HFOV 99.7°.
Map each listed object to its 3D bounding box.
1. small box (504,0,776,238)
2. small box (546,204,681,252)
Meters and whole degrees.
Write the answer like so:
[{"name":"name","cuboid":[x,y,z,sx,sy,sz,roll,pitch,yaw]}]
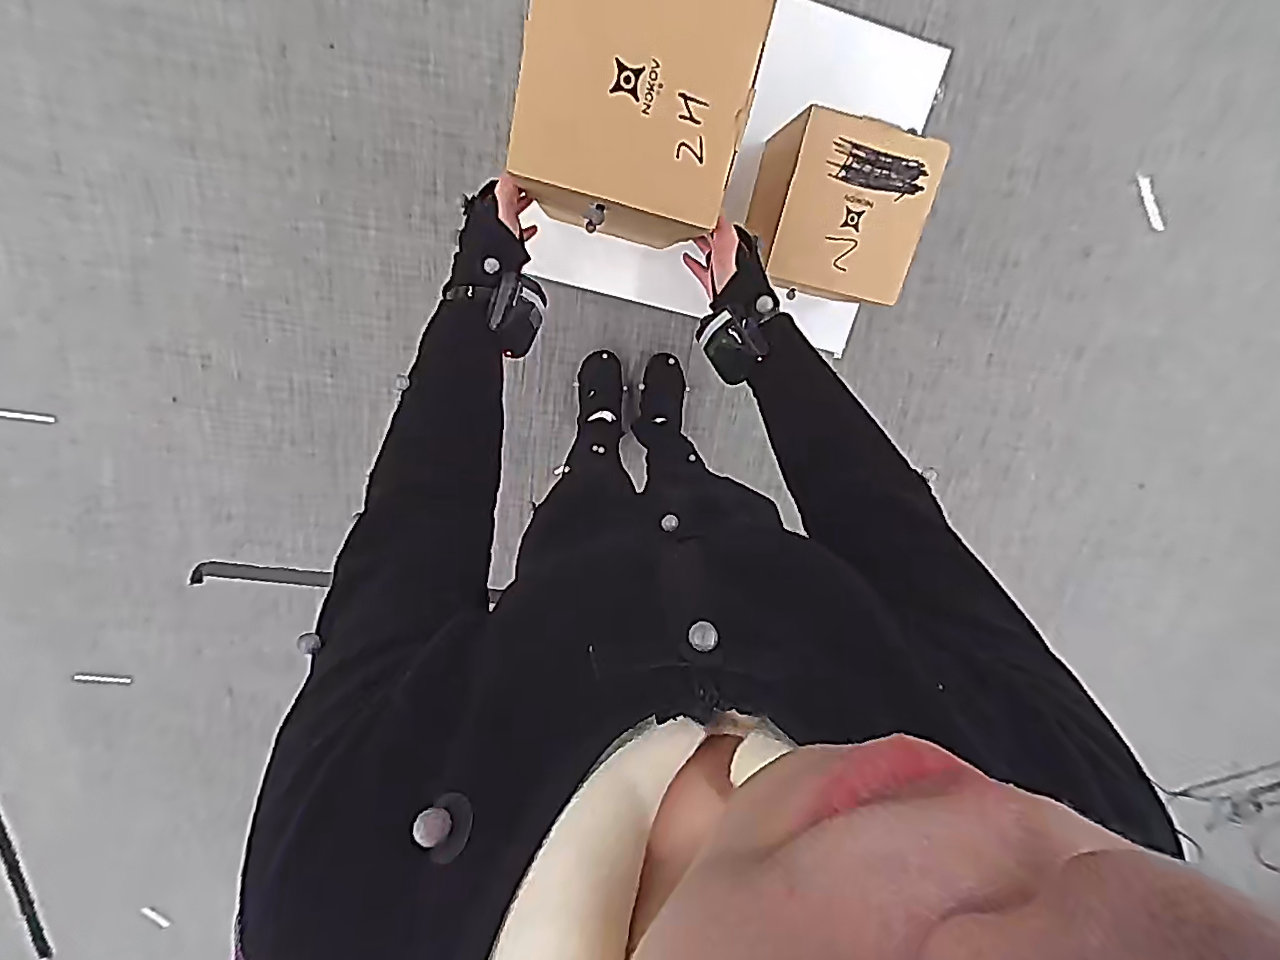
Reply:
[{"name":"small box","cuboid":[-0.008,-0.325,0.483,0.179,0.176,0.168,12,110,-9]},{"name":"small box","cuboid":[-0.019,-0.385,0.637,0.168,0.176,0.179,13,108,-9]}]
